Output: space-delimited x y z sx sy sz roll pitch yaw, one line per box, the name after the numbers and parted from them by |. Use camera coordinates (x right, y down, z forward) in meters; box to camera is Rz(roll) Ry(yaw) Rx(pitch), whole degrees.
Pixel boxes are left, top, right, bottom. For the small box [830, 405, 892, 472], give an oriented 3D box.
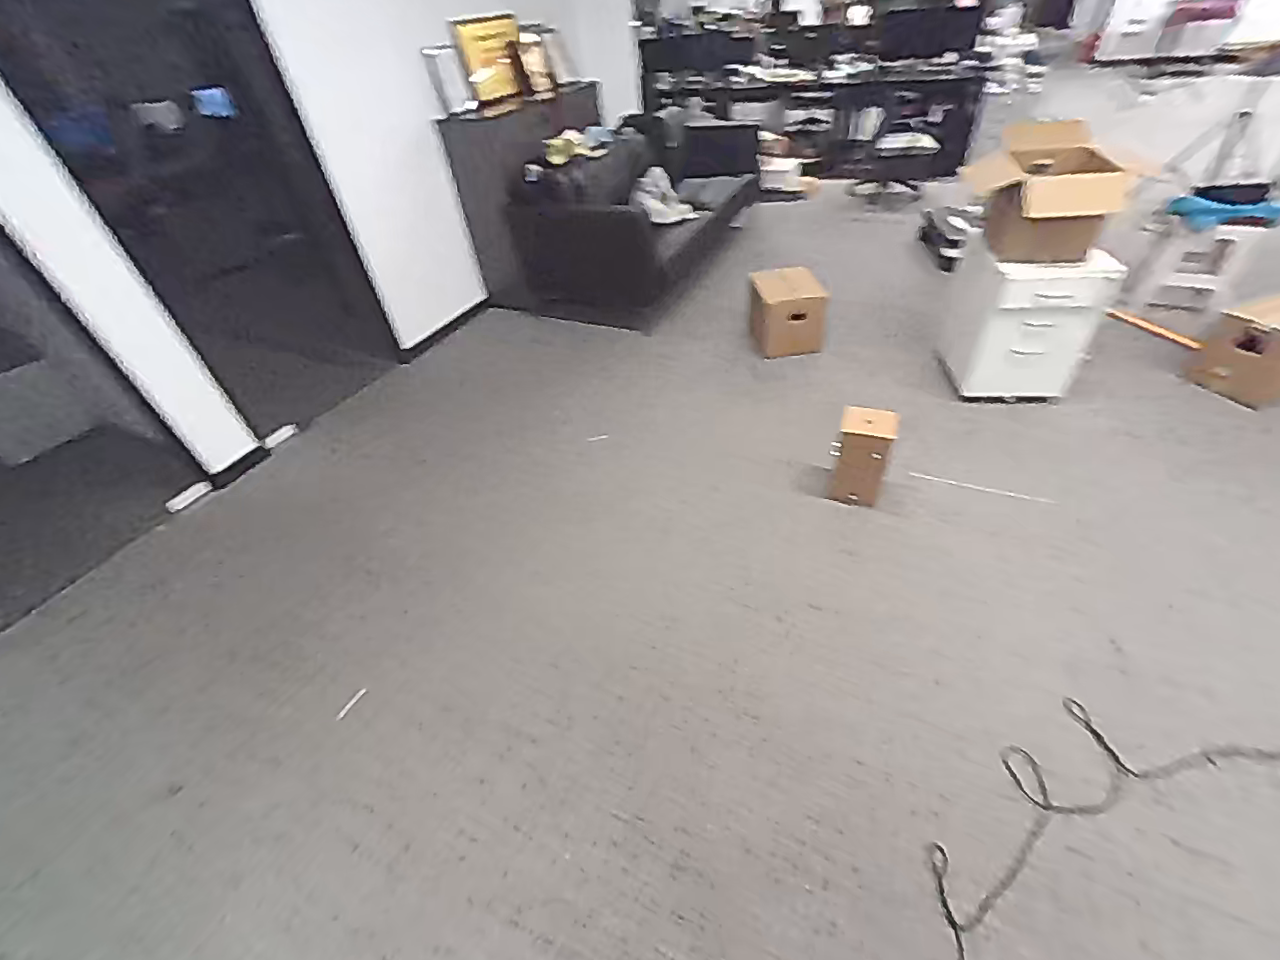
0.795 -0.149 1.949 0.179 0.176 0.168 10 43 21 | small box

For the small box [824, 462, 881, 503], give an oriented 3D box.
0.816 -0.035 2.064 0.179 0.176 0.168 13 45 21 | small box
